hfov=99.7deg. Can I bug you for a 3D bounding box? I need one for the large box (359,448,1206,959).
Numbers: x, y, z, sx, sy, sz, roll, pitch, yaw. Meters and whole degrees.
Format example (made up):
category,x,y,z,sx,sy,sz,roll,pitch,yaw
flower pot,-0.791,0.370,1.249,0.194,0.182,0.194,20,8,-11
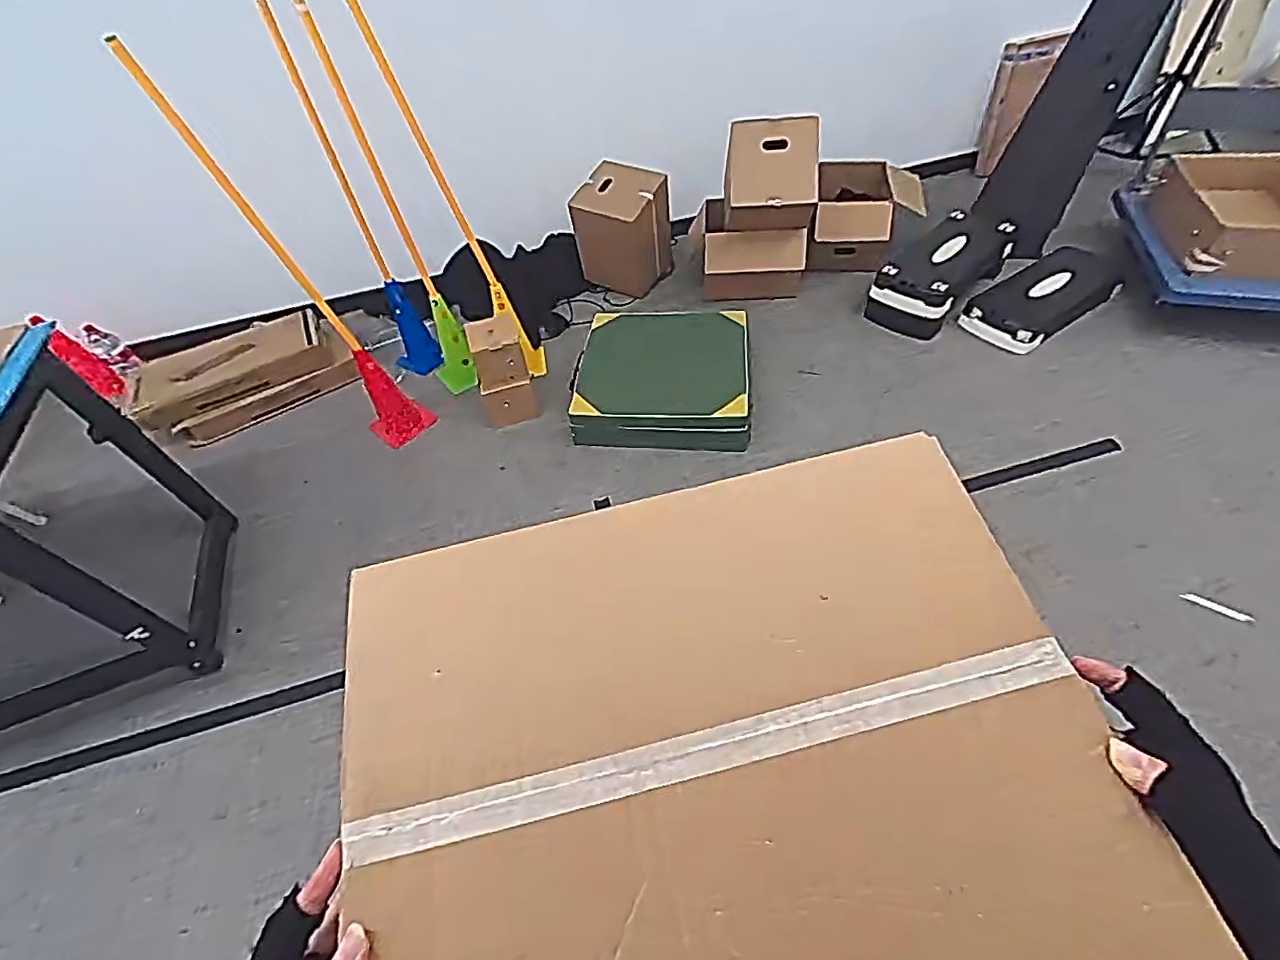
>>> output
category,x,y,z,sx,sy,sz,roll,pitch,yaw
large box,0.052,0.222,0.439,0.408,0.320,0.320,-14,61,-2
